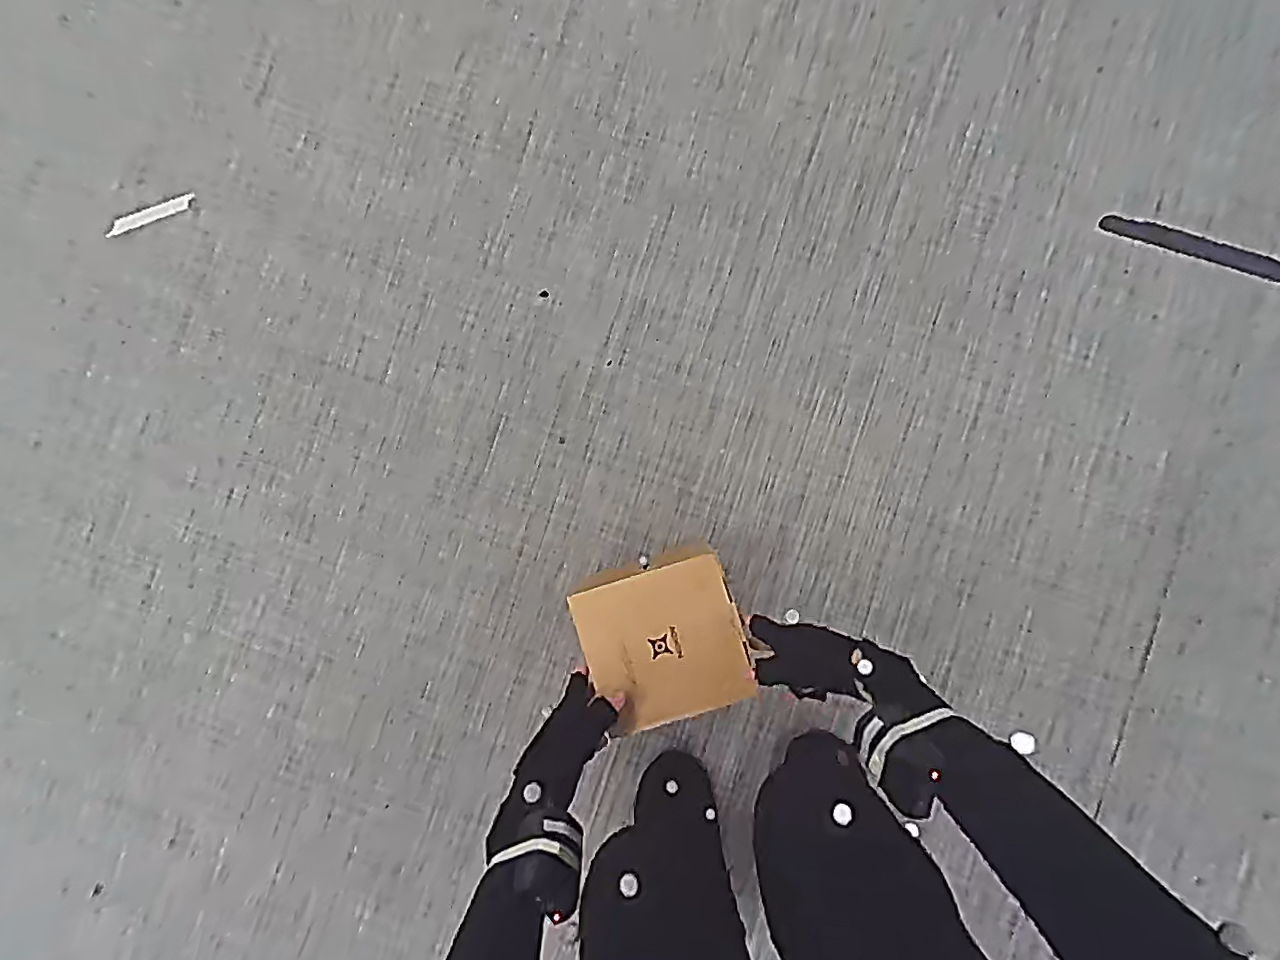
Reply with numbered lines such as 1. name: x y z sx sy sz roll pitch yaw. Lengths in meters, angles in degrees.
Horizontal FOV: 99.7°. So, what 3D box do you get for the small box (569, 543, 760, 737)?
1. small box: 0.028 0.182 0.668 0.179 0.176 0.168 -18 86 2
